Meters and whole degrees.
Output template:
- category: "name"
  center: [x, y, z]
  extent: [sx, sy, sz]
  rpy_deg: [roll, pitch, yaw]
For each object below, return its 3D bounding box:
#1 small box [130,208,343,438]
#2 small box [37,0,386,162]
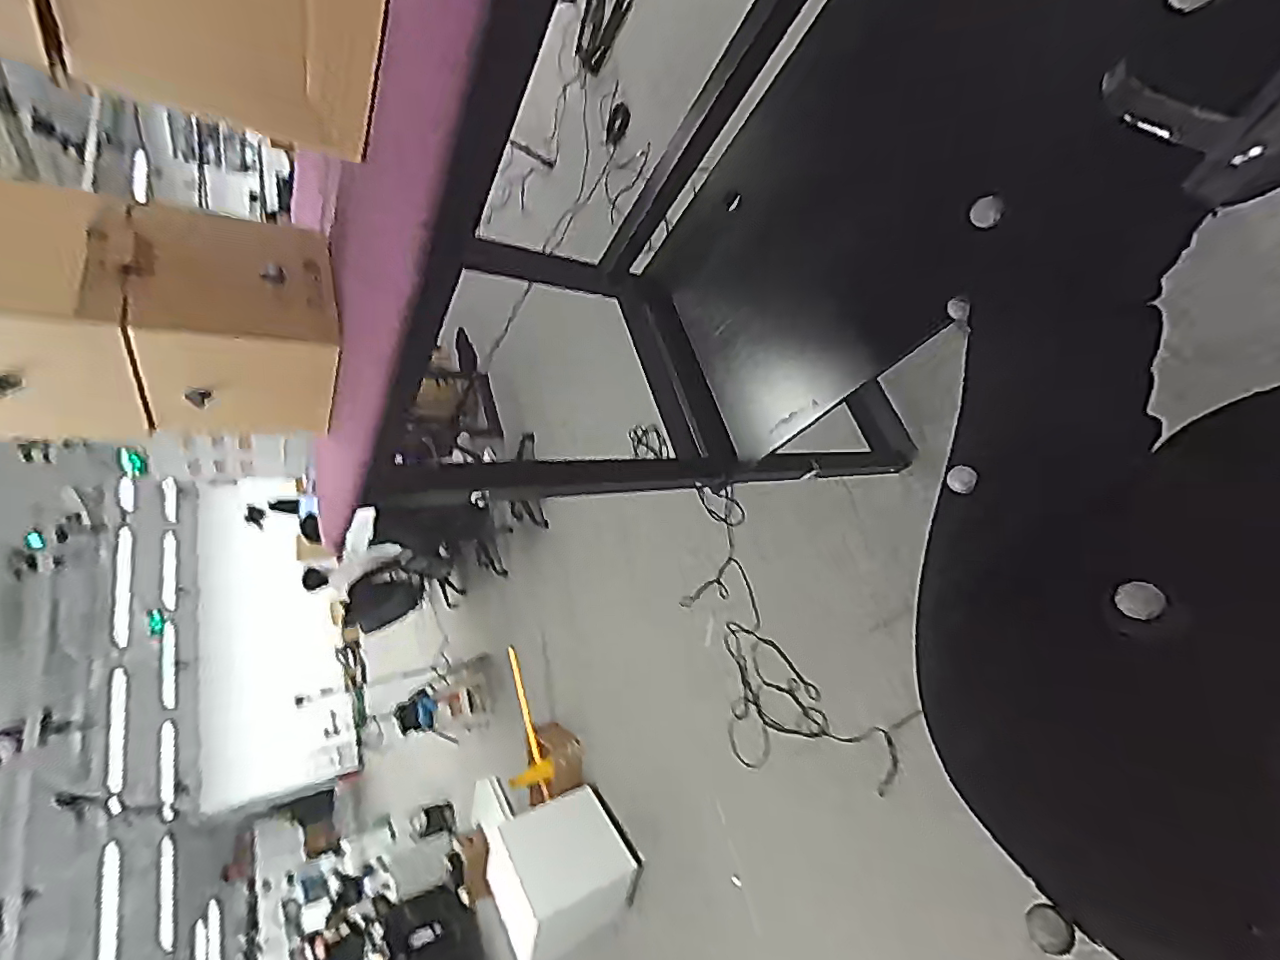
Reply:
- category: "small box"
  center: [-0.438, -0.159, 0.605]
  extent: [0.179, 0.176, 0.168]
  rpy_deg: [-45, 59, 47]
- category: "small box"
  center: [-0.265, -0.349, 0.348]
  extent: [0.179, 0.176, 0.168]
  rpy_deg: [-44, 57, 47]
